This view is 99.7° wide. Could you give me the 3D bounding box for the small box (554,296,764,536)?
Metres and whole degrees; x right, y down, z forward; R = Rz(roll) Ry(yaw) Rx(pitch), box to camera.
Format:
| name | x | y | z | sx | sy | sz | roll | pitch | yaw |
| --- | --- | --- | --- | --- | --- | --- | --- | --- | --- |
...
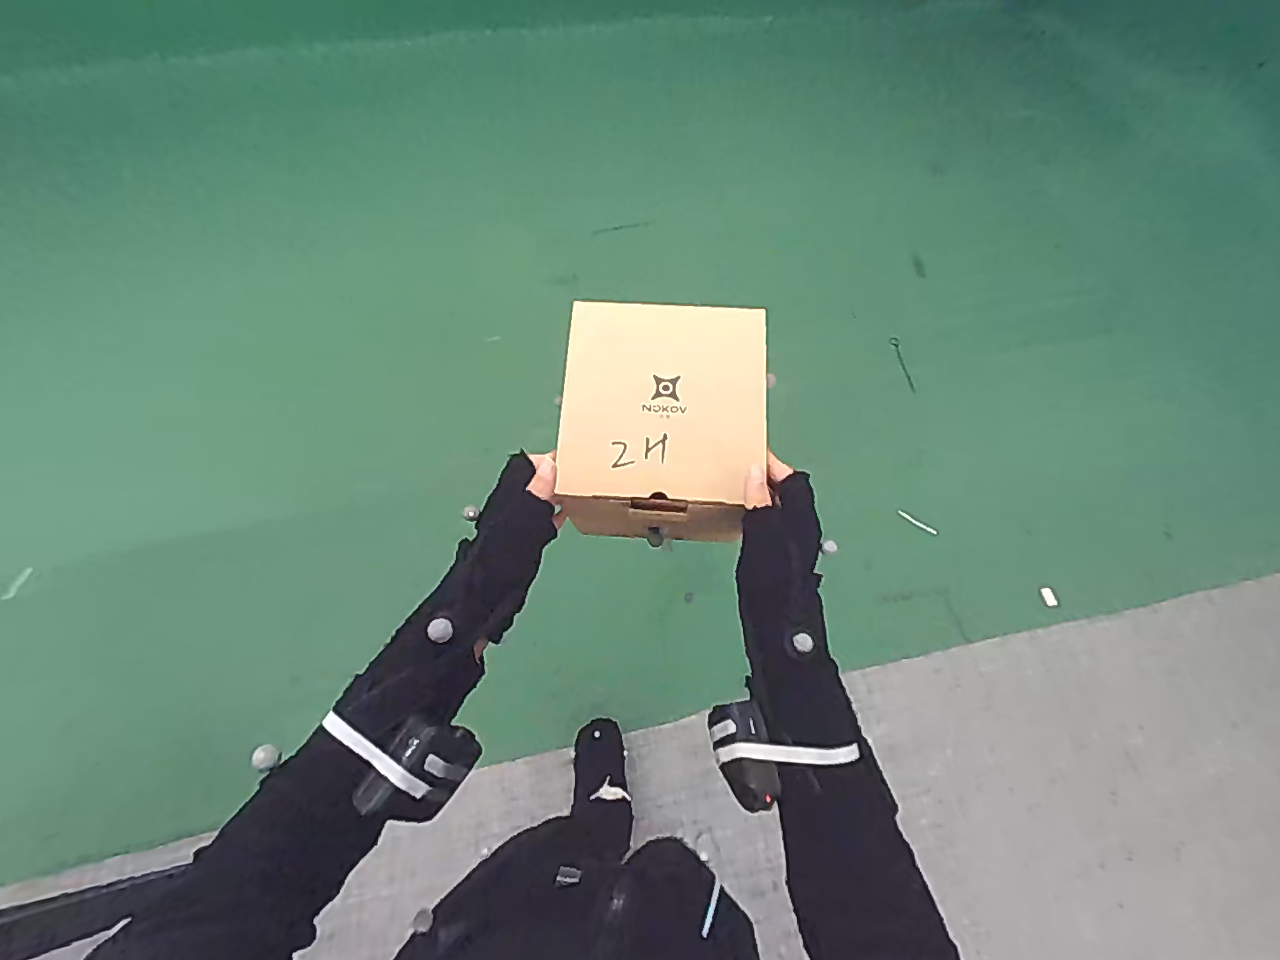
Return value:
| name | x | y | z | sx | sy | sz | roll | pitch | yaw |
| --- | --- | --- | --- | --- | --- | --- | --- | --- | --- |
| small box | 0.020 | -0.050 | 0.519 | 0.168 | 0.176 | 0.179 | 3 | 75 | 3 |
